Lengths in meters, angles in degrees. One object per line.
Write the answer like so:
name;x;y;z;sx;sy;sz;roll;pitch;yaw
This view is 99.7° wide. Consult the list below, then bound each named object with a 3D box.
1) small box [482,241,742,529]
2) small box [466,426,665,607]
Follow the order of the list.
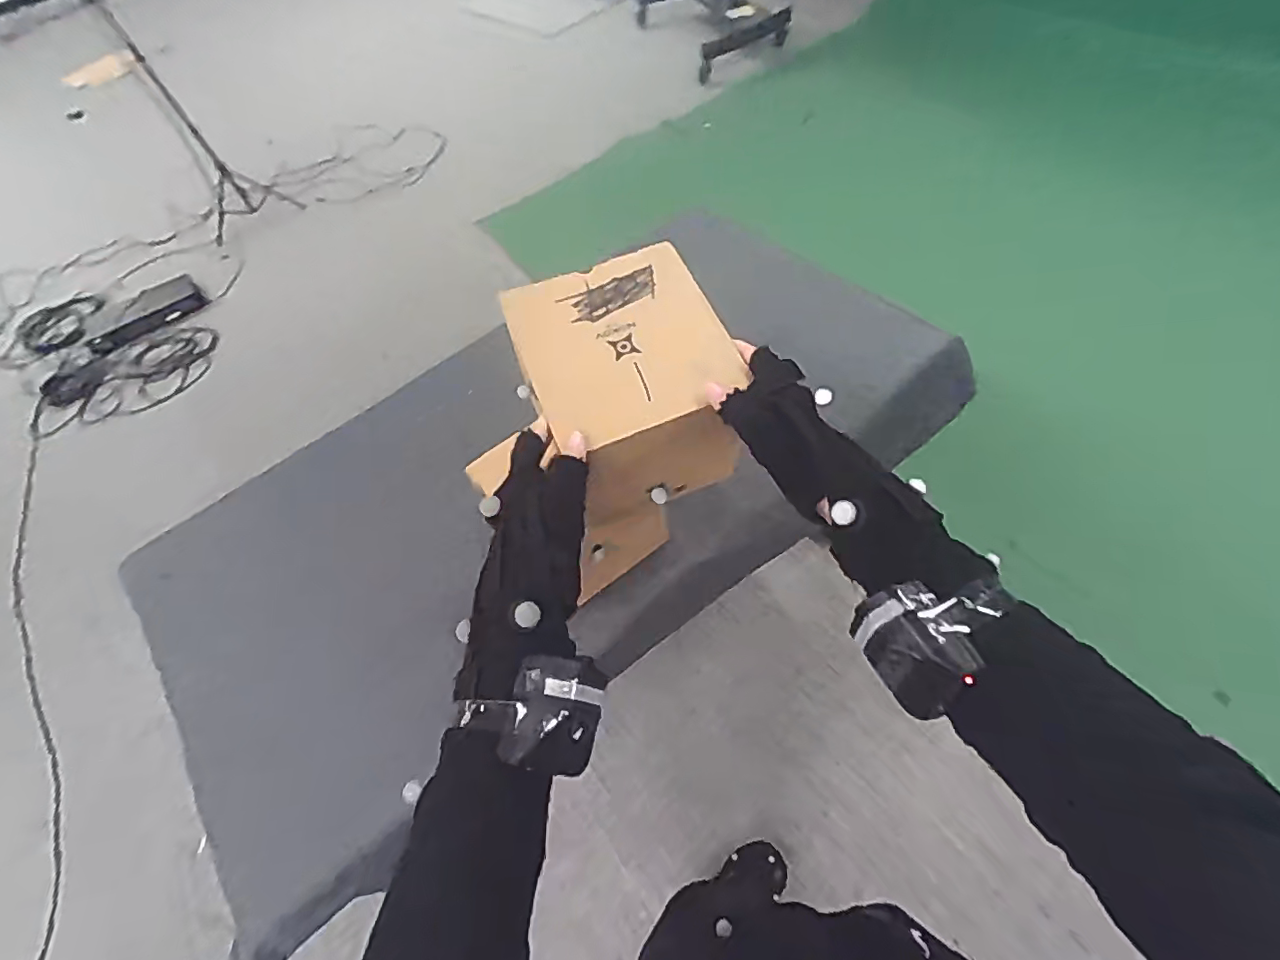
small box;-0.026;-0.083;0.516;0.168;0.176;0.179;-26;65;-10
small box;-0.084;0.034;0.696;0.179;0.176;0.168;-35;59;-13
